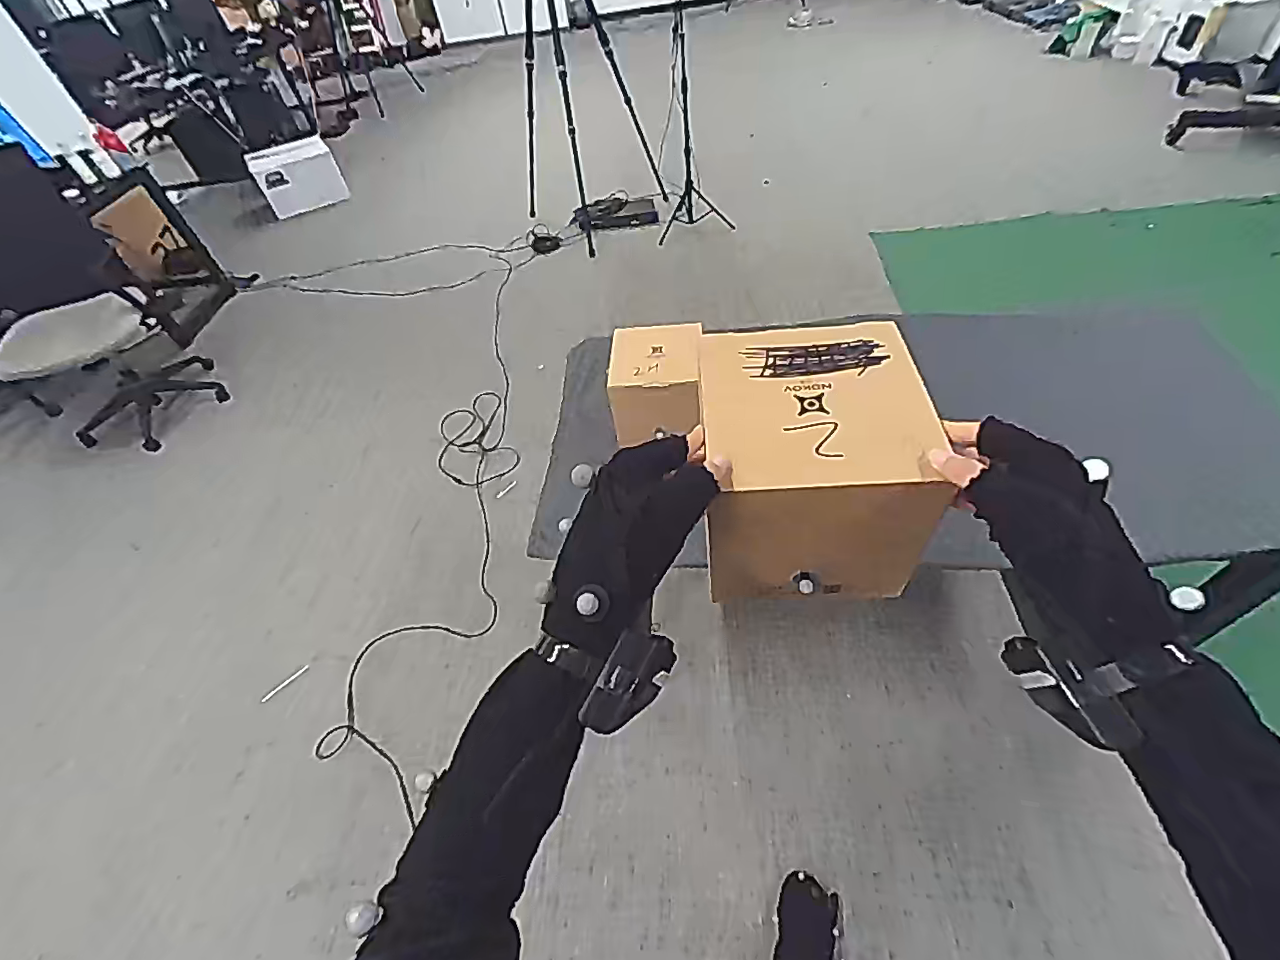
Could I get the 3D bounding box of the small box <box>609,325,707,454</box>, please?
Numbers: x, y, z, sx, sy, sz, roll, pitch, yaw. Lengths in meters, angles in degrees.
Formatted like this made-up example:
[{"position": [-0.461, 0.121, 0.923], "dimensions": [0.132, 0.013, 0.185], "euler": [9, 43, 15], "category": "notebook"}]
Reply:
[{"position": [0.041, -0.168, 1.017], "dimensions": [0.168, 0.176, 0.179], "euler": [-2, 48, 7], "category": "small box"}]
